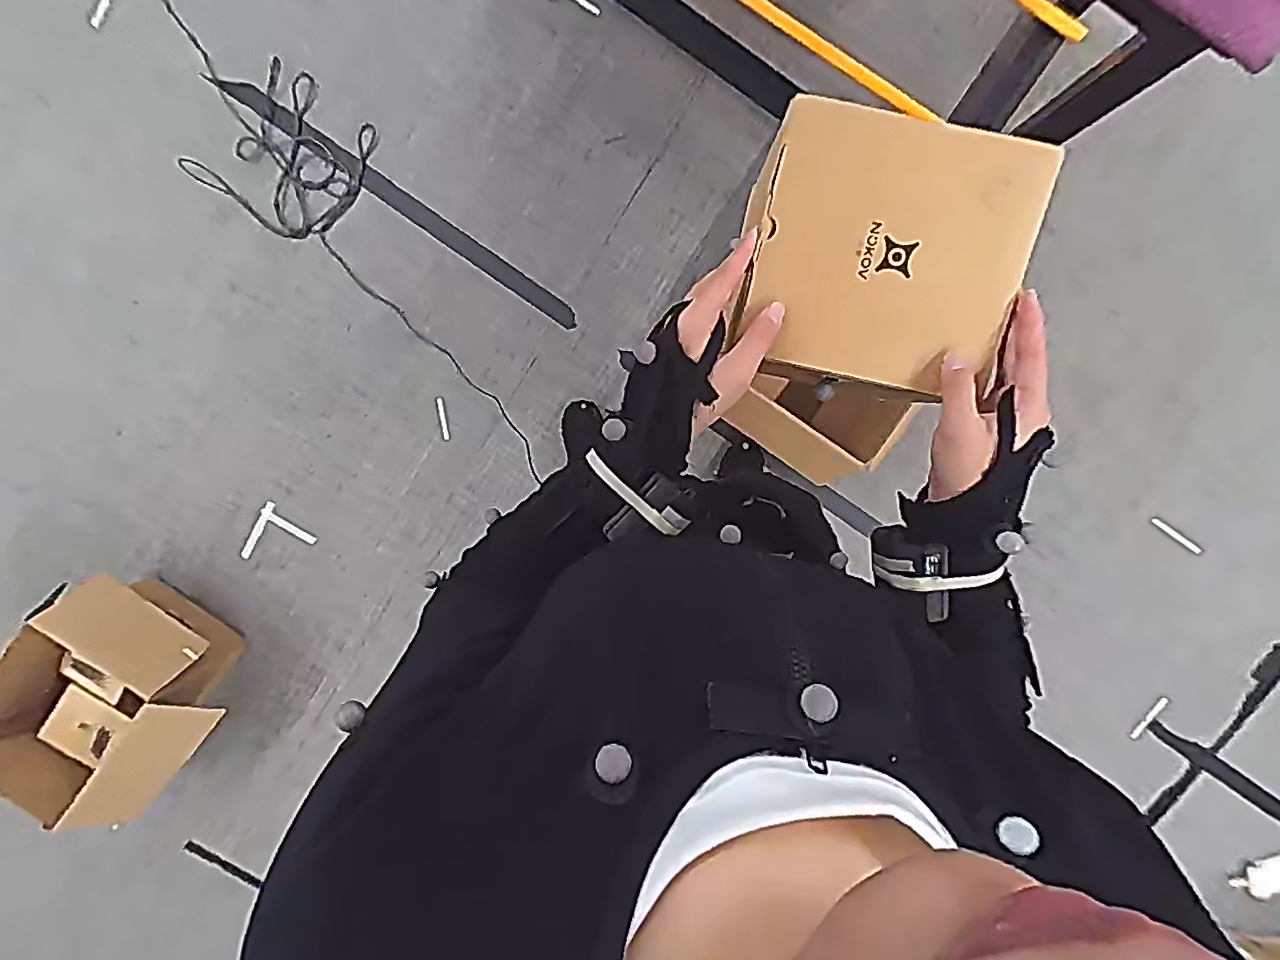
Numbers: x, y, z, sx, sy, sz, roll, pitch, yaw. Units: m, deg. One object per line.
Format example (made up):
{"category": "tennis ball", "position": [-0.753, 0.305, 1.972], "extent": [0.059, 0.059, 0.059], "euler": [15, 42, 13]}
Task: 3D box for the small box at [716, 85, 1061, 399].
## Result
{"category": "small box", "position": [0.167, -0.167, 0.432], "extent": [0.179, 0.176, 0.168], "euler": [13, 101, 2]}
